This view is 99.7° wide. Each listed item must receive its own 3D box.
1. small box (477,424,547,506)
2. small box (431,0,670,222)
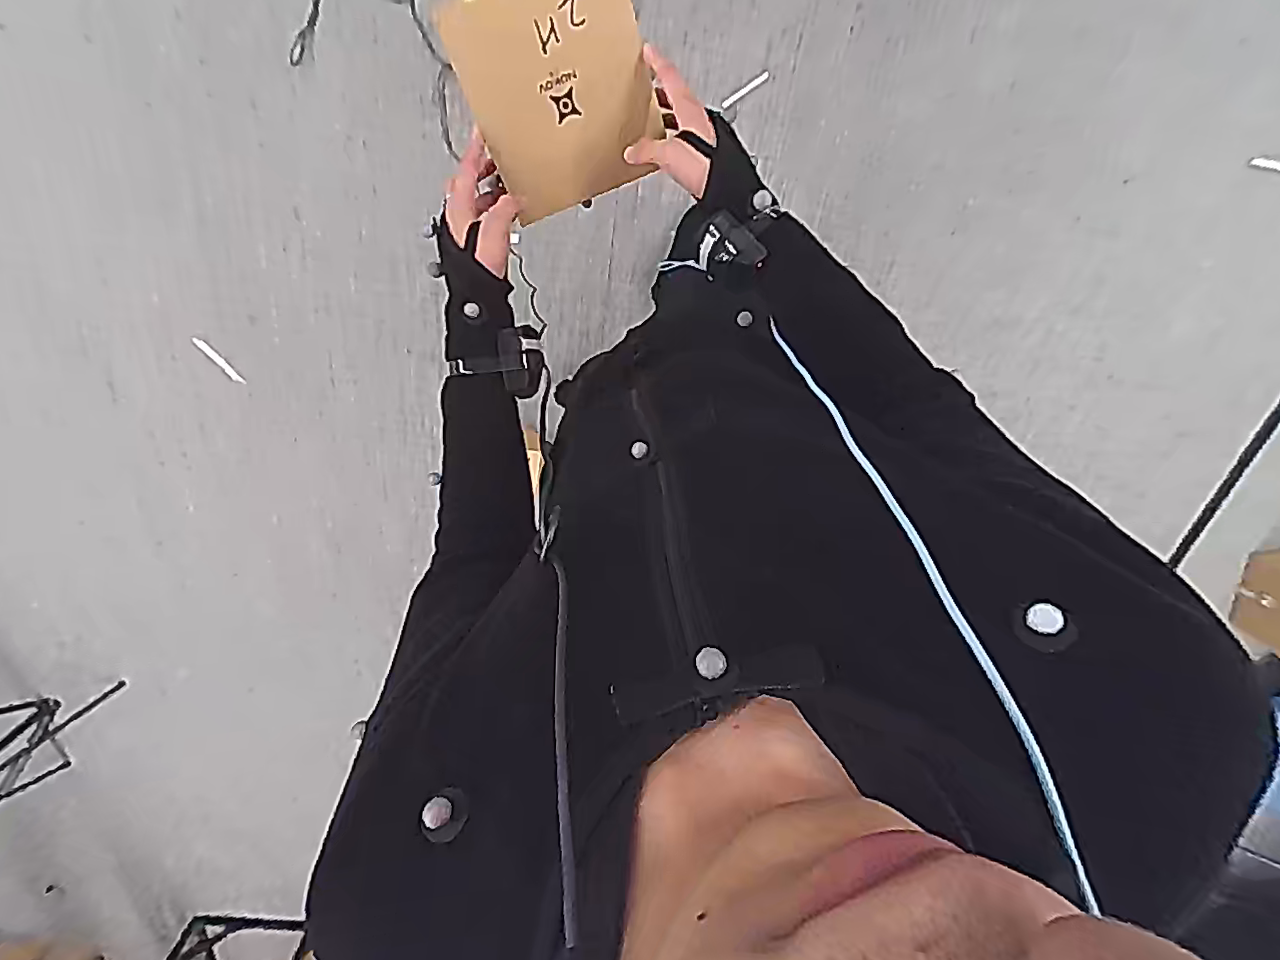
[{"bbox_3d":[-0.373,-0.050,1.598,0.168,0.176,0.179,11,116,-5],"label":"small box"},{"bbox_3d":[-0.085,-0.390,0.550,0.168,0.176,0.179,-22,123,0],"label":"small box"}]
